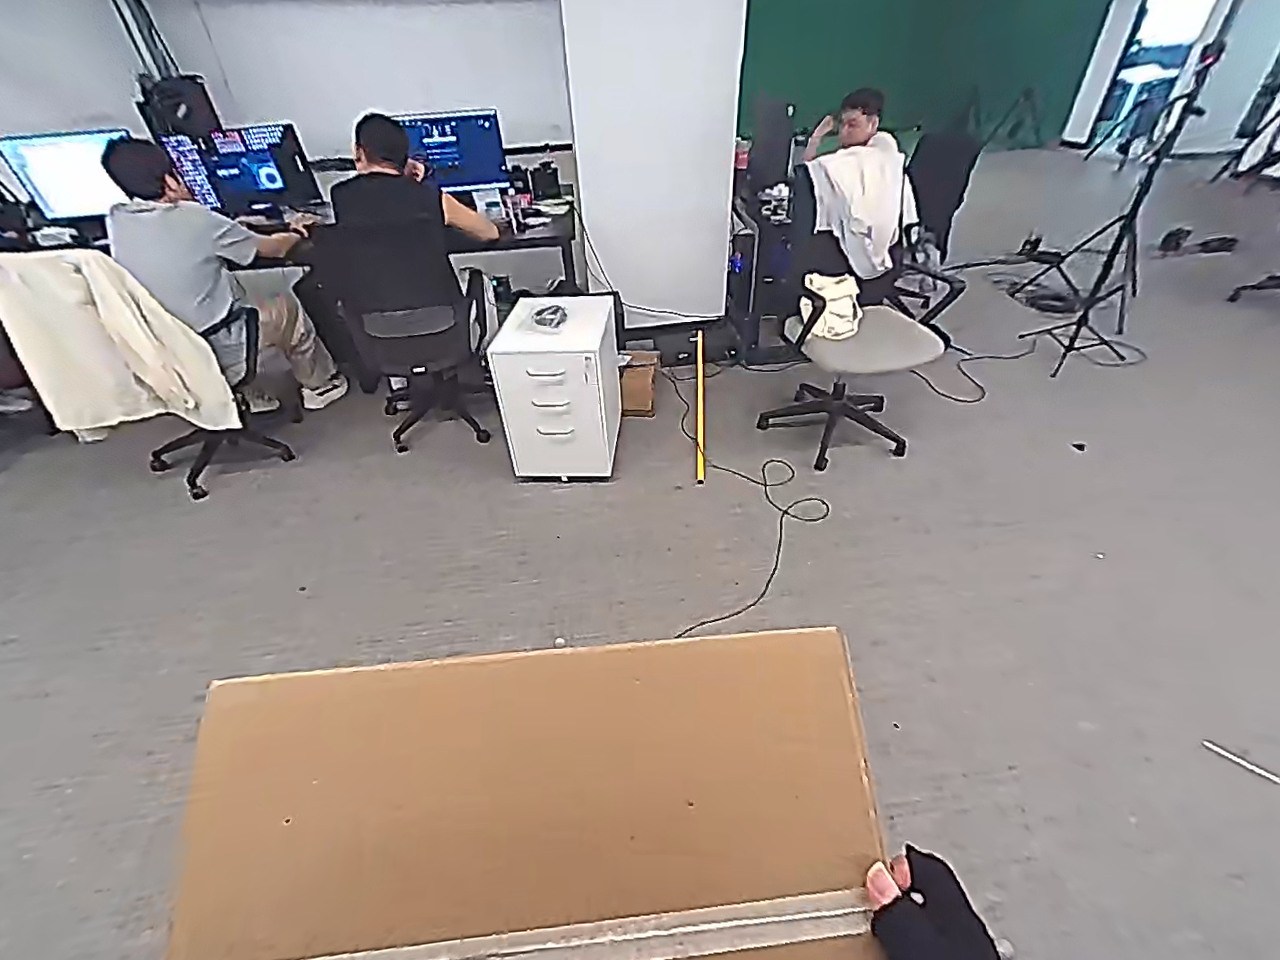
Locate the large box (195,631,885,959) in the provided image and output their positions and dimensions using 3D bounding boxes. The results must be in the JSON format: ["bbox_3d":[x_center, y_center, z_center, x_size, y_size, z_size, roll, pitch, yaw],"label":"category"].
[{"bbox_3d":[-0.059,0.312,0.460,0.408,0.320,0.320,-4,72,-4],"label":"large box"}]
